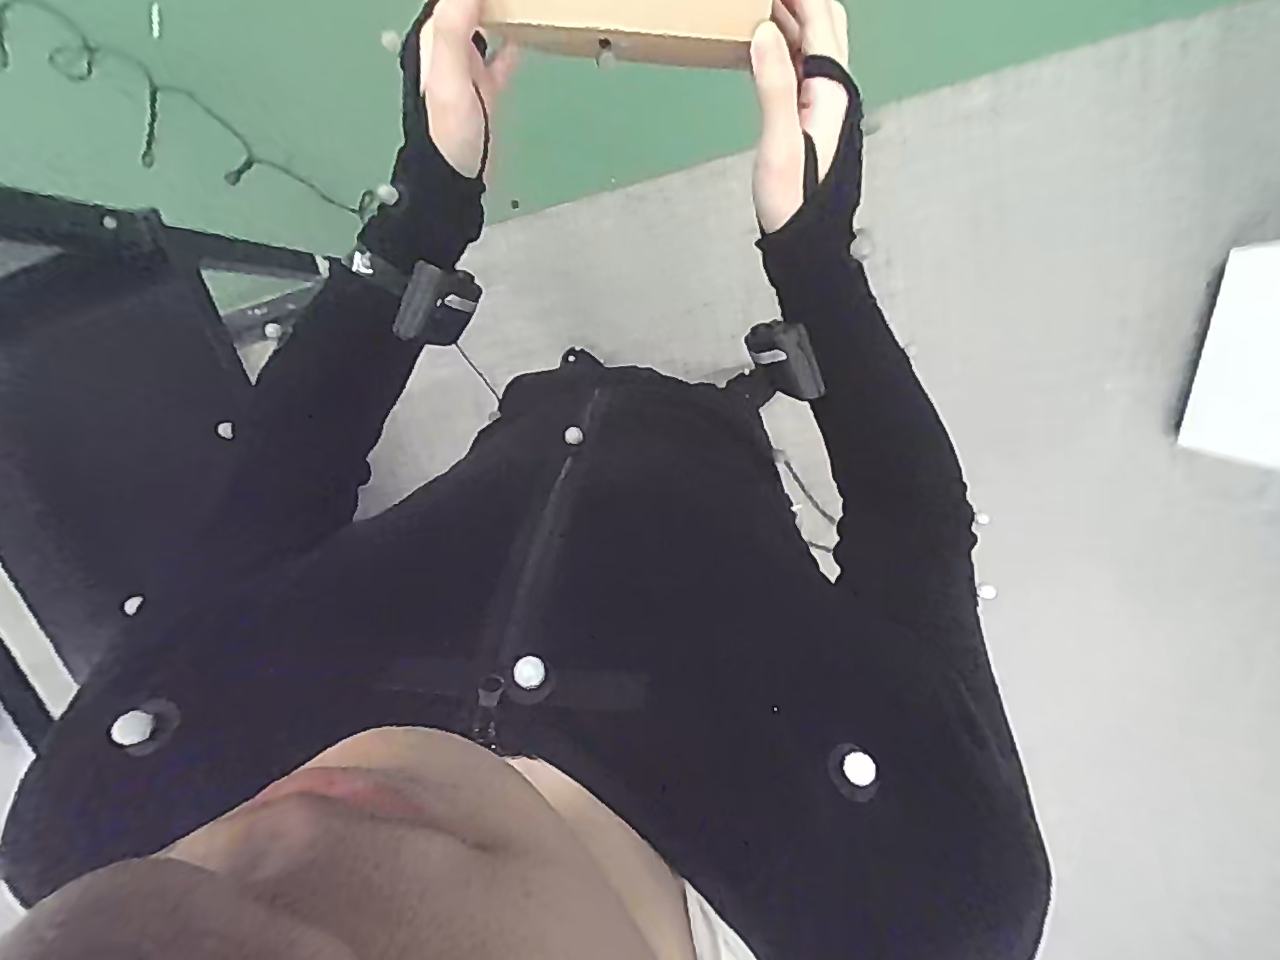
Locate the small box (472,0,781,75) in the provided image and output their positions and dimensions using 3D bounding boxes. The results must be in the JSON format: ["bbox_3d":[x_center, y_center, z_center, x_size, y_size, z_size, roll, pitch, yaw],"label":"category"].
[{"bbox_3d":[0.006,-0.362,0.332,0.179,0.176,0.168,7,124,2],"label":"small box"}]
